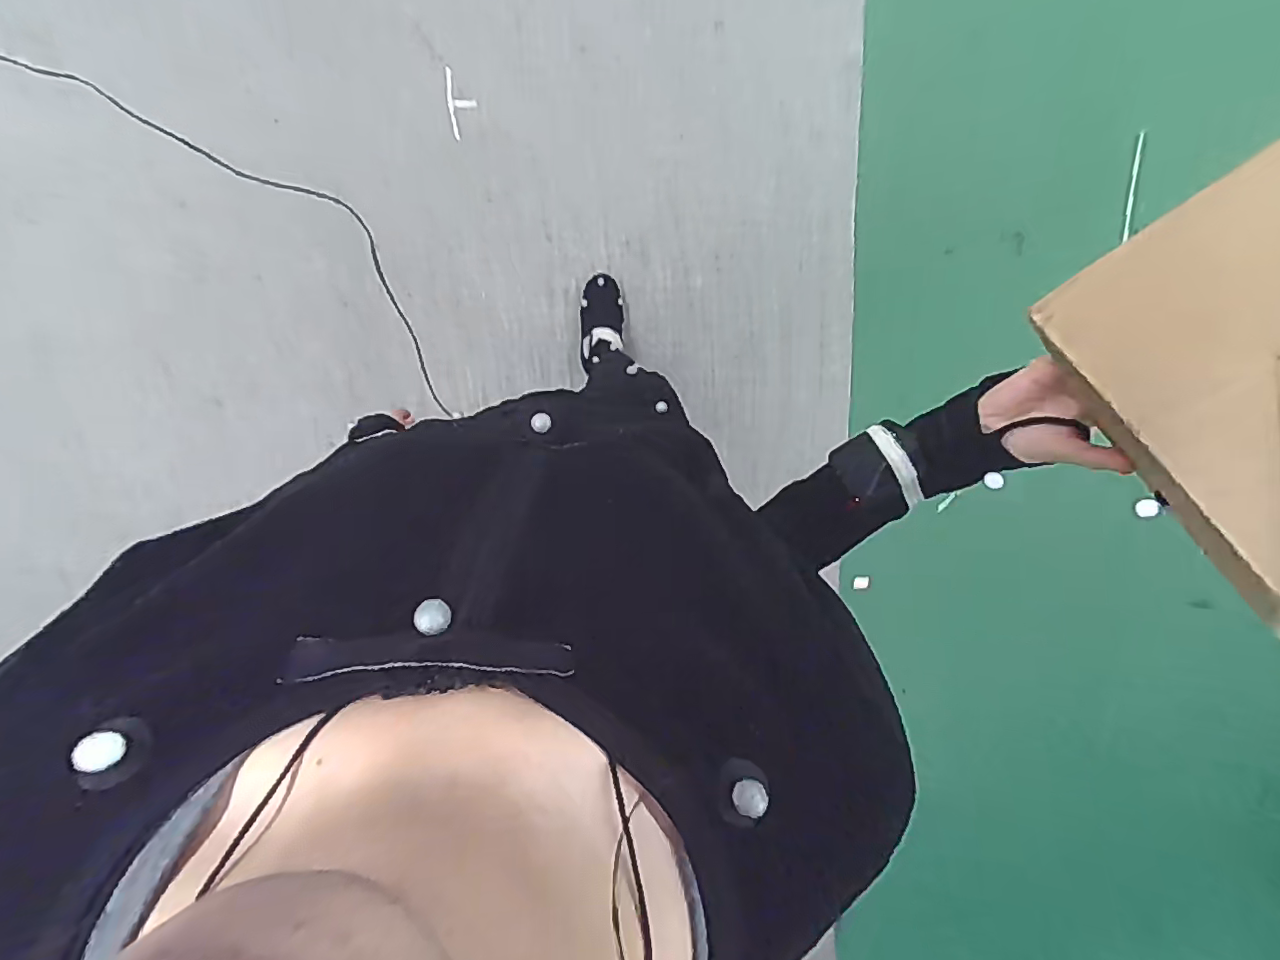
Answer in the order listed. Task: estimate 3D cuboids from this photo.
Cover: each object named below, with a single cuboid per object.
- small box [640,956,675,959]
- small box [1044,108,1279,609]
[{"bbox_3d":[-0.014,0.900,0.851,0.179,0.176,0.168,-3,104,-5],"label":"small box"},{"bbox_3d":[0.332,-0.054,0.249,0.176,0.179,0.168,19,135,-40],"label":"small box"}]
